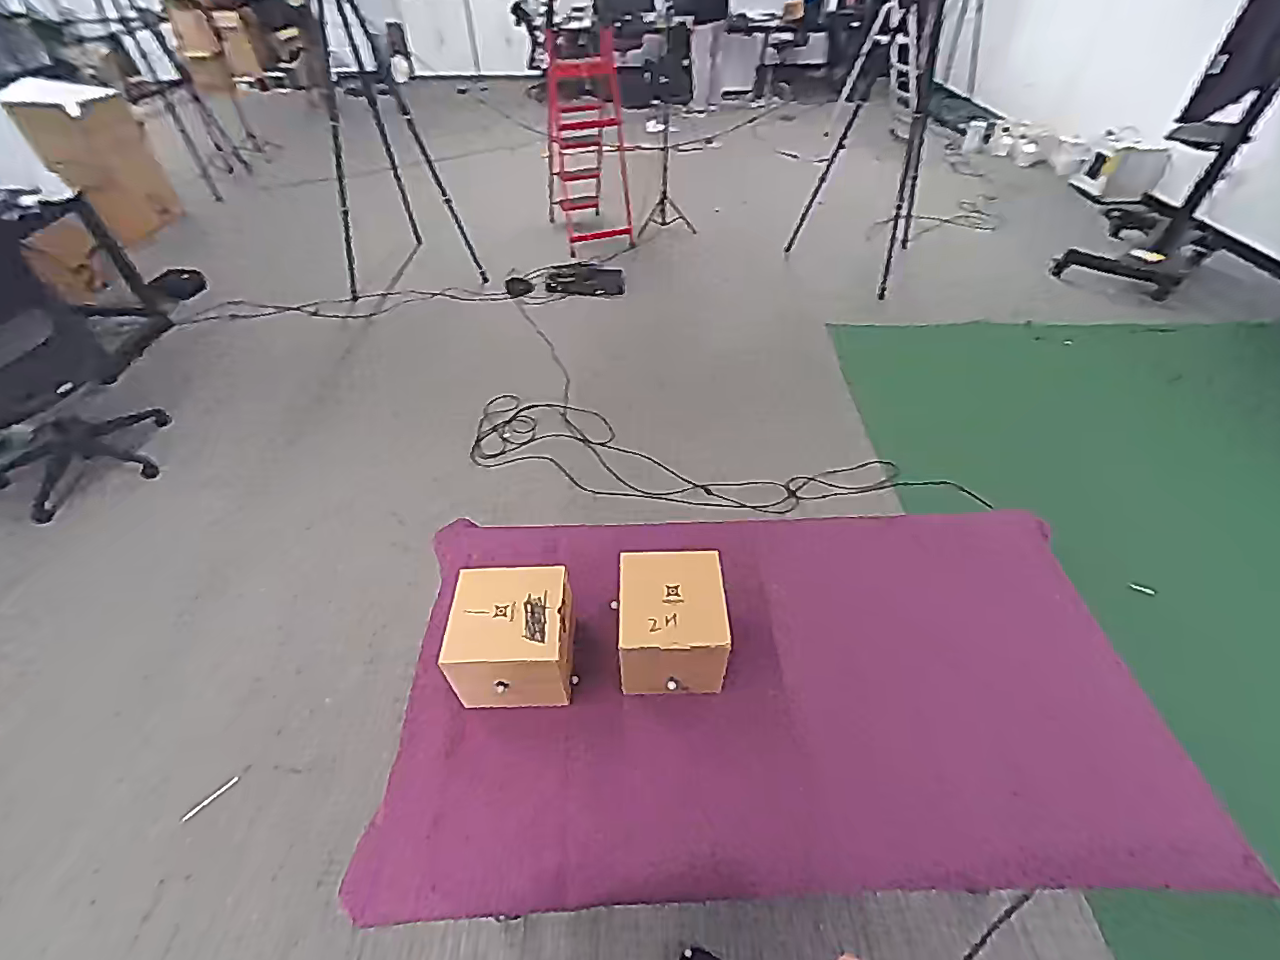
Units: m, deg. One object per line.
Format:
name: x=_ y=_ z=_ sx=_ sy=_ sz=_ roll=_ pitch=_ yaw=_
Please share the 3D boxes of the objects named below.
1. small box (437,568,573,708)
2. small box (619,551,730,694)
small box: x=-0.205 y=0.259 z=0.883 sx=0.179 sy=0.176 sz=0.168 roll=-2 pitch=46 yaw=0
small box: x=0.050 y=0.238 z=0.902 sx=0.168 sy=0.176 sz=0.179 roll=-1 pitch=47 yaw=0
